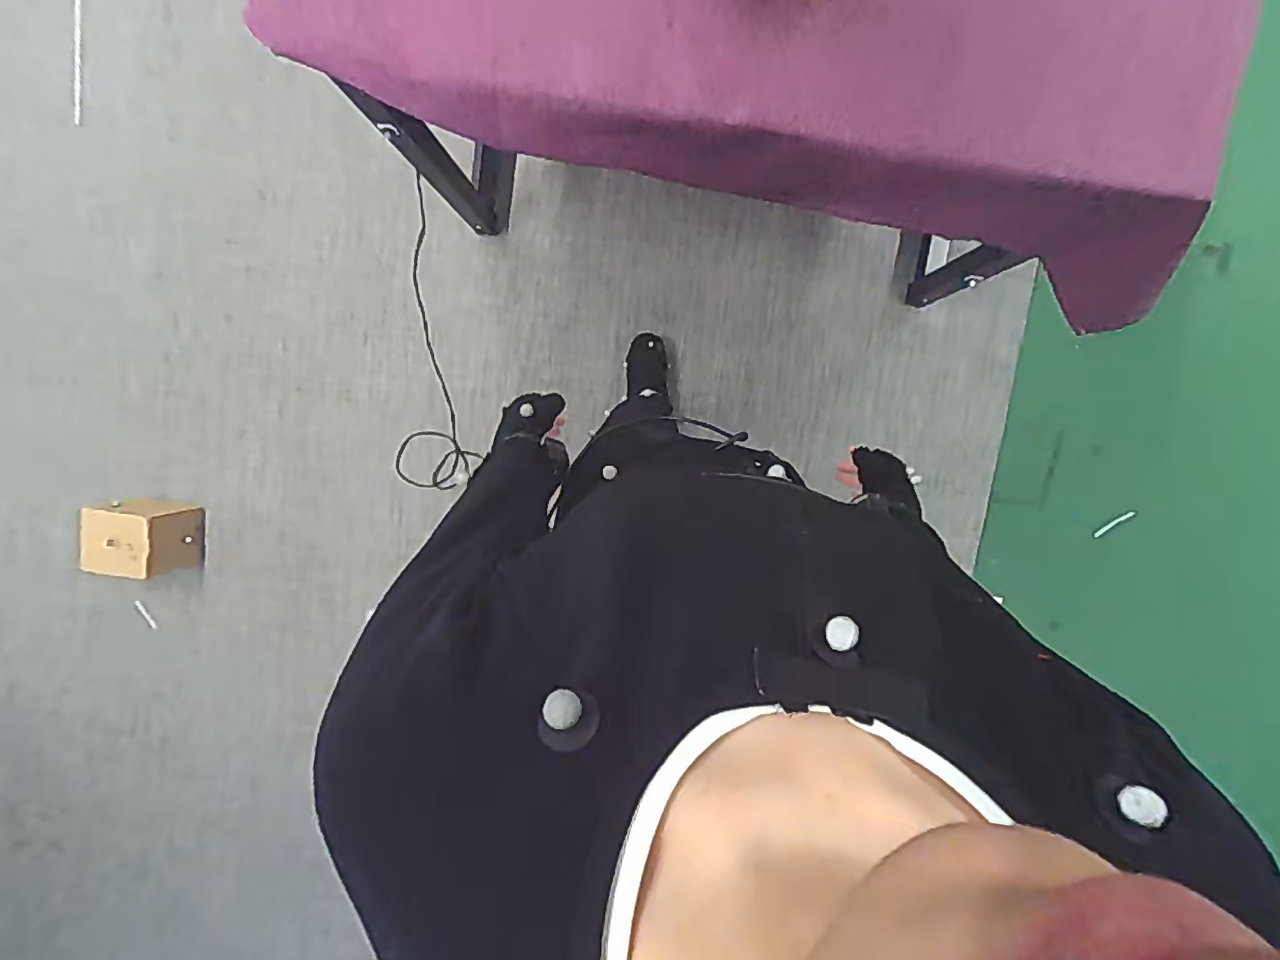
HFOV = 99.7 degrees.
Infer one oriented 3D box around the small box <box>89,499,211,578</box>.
[{"bbox_3d":[-1.304,0.150,1.445,0.179,0.176,0.168,8,97,0],"label":"small box"}]
